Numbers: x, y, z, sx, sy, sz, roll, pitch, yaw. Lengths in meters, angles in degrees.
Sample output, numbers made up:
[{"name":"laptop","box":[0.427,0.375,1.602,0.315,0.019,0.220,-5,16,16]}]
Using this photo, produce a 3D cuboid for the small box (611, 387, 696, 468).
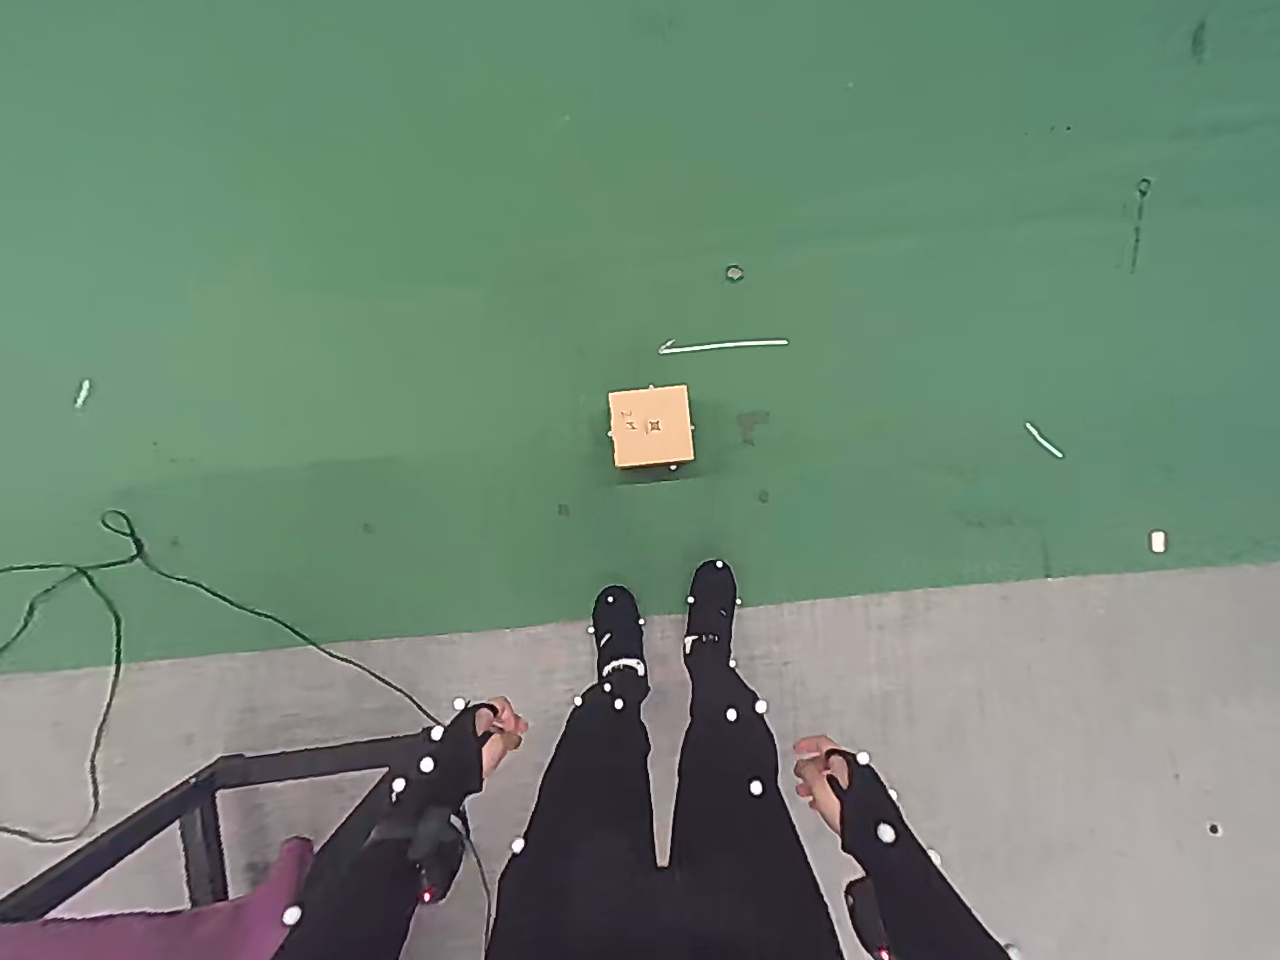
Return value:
[{"name":"small box","box":[0.030,-0.117,1.260,0.179,0.176,0.168,-5,90,1]}]
